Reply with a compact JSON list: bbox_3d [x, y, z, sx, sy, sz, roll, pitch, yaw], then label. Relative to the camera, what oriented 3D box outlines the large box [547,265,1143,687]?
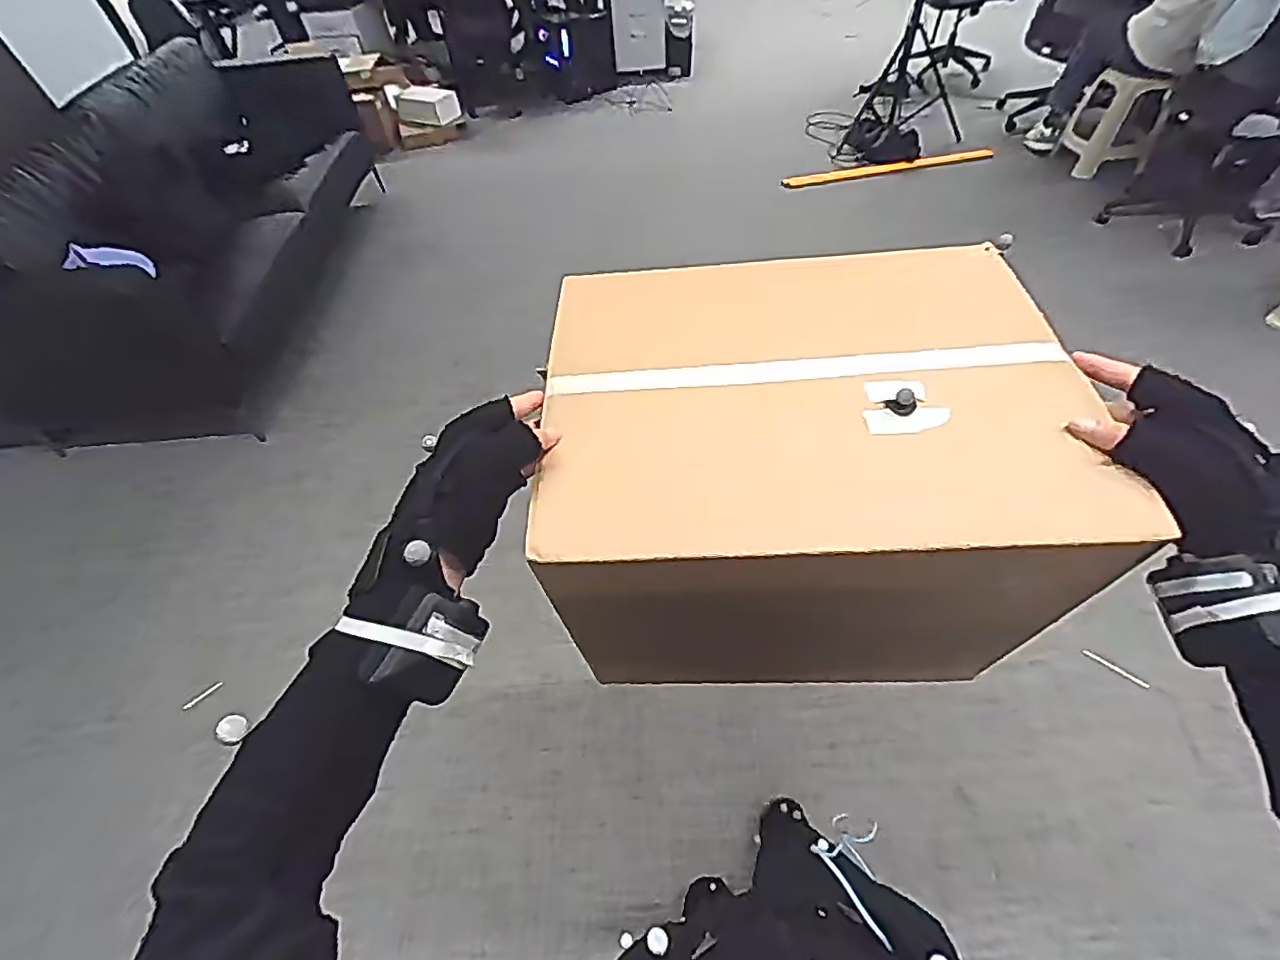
[{"bbox_3d":[0.140,0.012,0.567,0.408,0.320,0.320,-3,55,4],"label":"large box"}]
